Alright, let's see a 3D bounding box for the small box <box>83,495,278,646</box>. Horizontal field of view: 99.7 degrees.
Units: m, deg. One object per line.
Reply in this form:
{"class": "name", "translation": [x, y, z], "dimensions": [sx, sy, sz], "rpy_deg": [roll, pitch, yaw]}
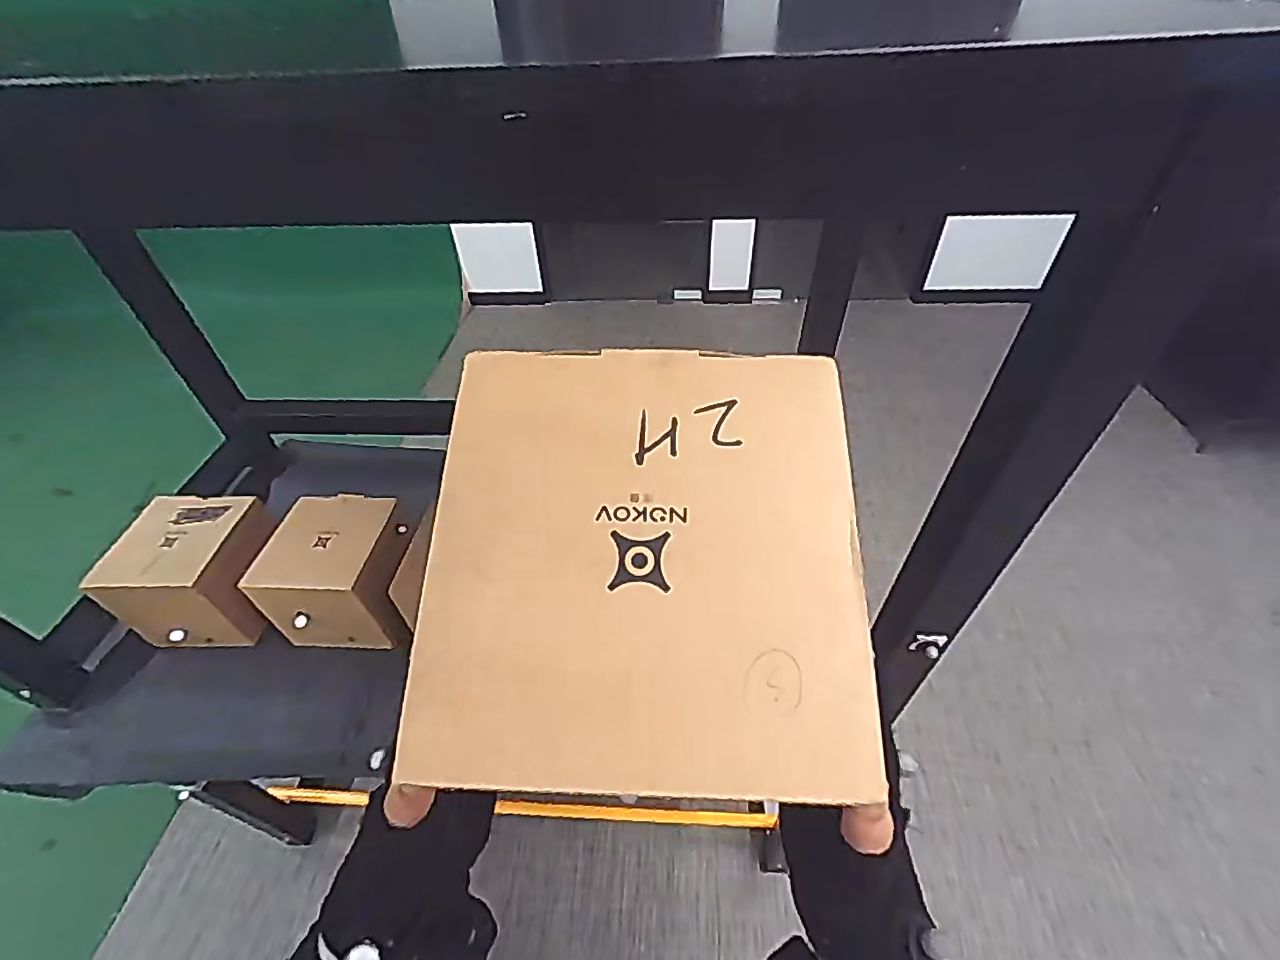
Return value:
{"class": "small box", "translation": [-0.688, 0.142, 0.860], "dimensions": [0.168, 0.176, 0.179], "rpy_deg": [-1, 44, 2]}

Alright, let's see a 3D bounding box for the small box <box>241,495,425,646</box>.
{"class": "small box", "translation": [-0.461, 0.143, 0.852], "dimensions": [0.168, 0.176, 0.179], "rpy_deg": [1, 43, 3]}

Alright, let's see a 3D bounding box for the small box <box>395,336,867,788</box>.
{"class": "small box", "translation": [0.001, 0.047, 0.286], "dimensions": [0.168, 0.176, 0.179], "rpy_deg": [2, 68, 2]}
